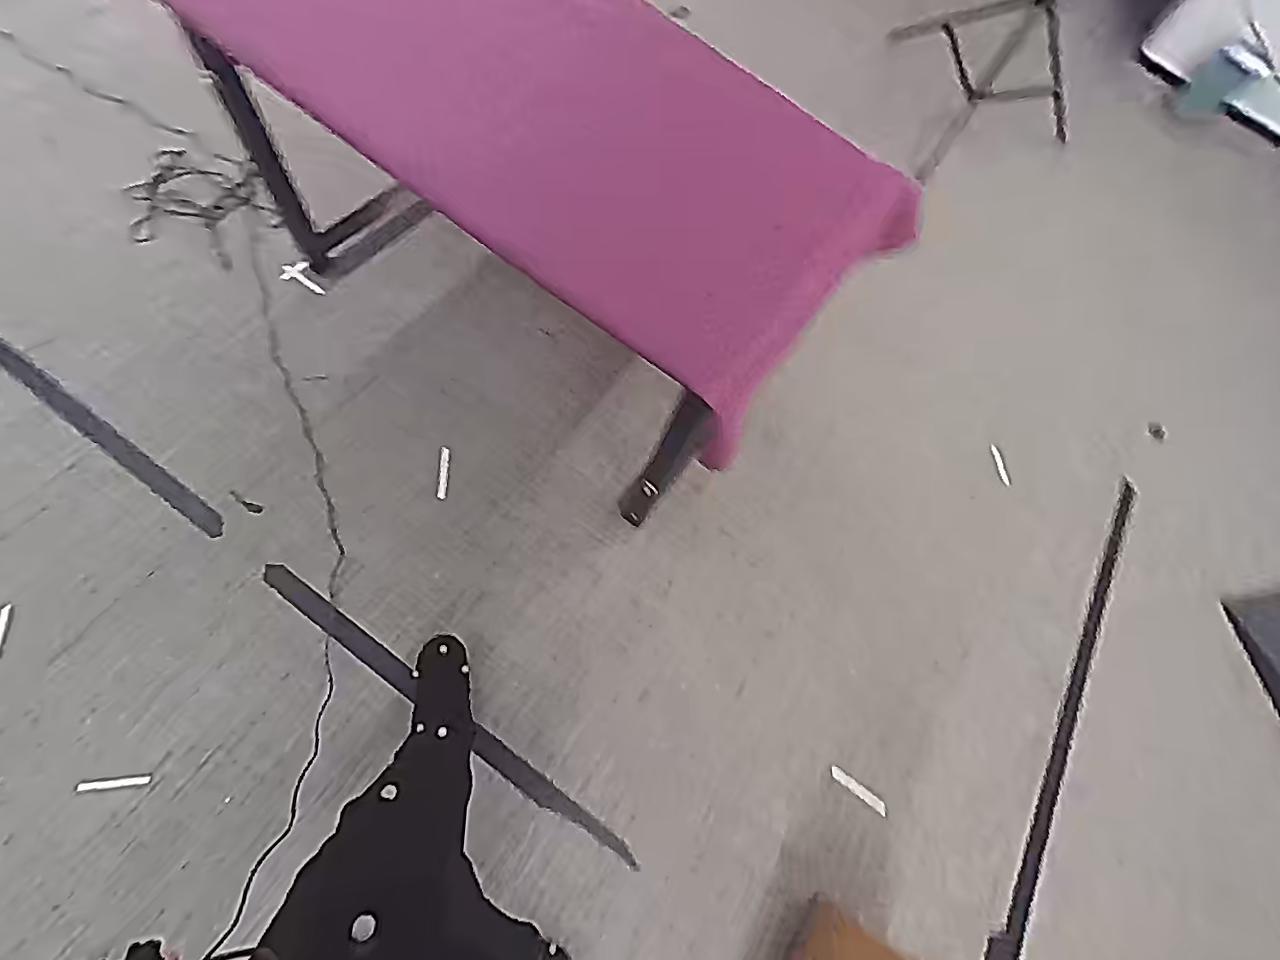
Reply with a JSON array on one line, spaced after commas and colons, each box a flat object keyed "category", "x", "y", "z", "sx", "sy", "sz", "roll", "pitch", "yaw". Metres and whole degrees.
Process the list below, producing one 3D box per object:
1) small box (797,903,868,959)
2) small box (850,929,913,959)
[{"category": "small box", "x": 0.435, "y": 0.989, "z": 1.071, "sx": 0.179, "sy": 0.176, "sz": 0.168, "roll": 36, "pitch": 68, "yaw": 3}, {"category": "small box", "x": 0.455, "y": 0.929, "z": 0.922, "sx": 0.168, "sy": 0.176, "sz": 0.179, "roll": 36, "pitch": 68, "yaw": 4}]
